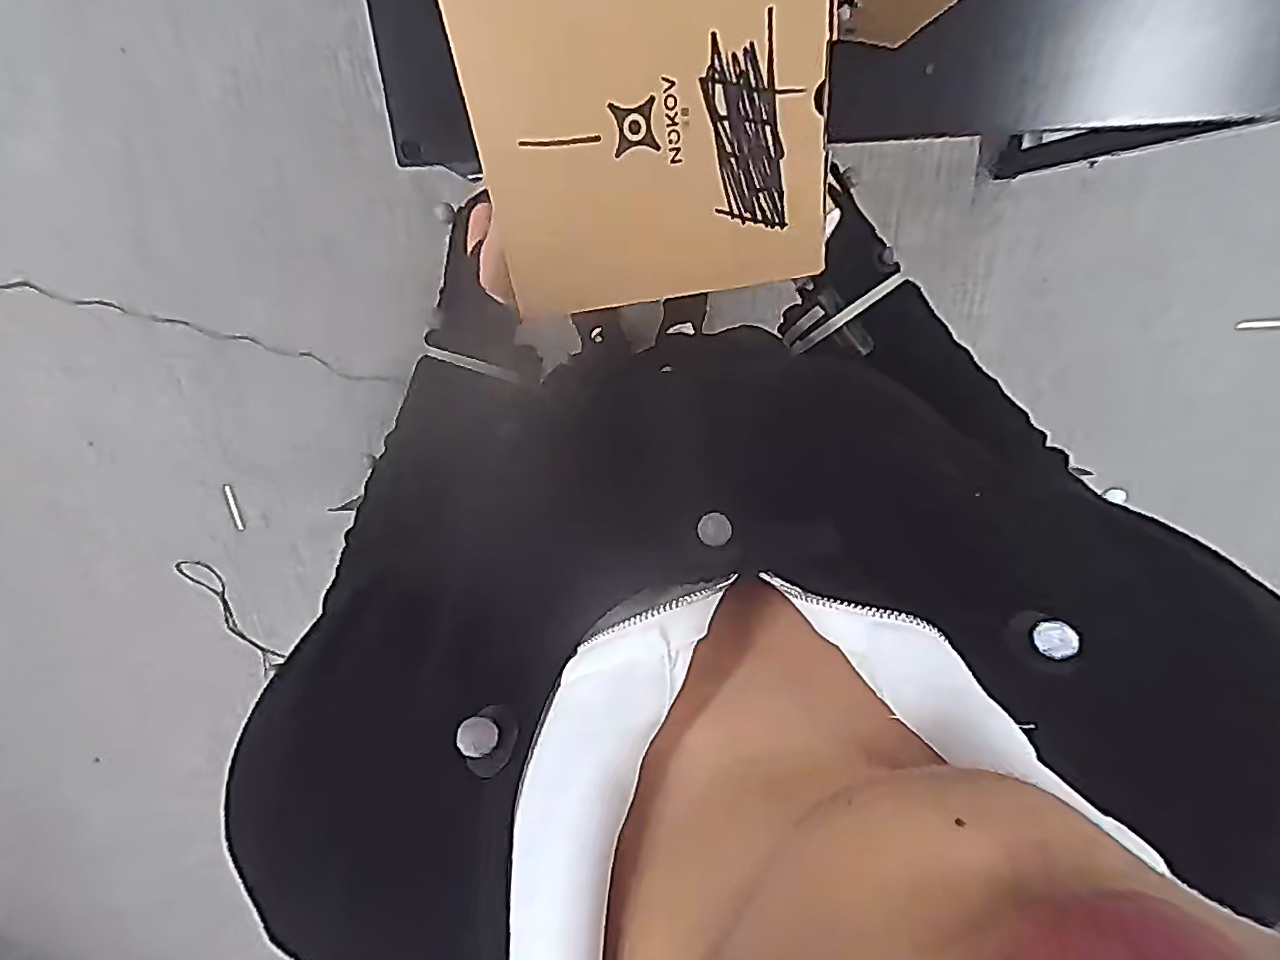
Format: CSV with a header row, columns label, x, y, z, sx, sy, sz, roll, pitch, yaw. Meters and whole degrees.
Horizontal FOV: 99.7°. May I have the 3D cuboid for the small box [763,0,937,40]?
label,x,y,z,sx,sy,sz,roll,pitch,yaw
small box,0.211,-0.531,0.477,0.168,0.176,0.179,6,111,-5
